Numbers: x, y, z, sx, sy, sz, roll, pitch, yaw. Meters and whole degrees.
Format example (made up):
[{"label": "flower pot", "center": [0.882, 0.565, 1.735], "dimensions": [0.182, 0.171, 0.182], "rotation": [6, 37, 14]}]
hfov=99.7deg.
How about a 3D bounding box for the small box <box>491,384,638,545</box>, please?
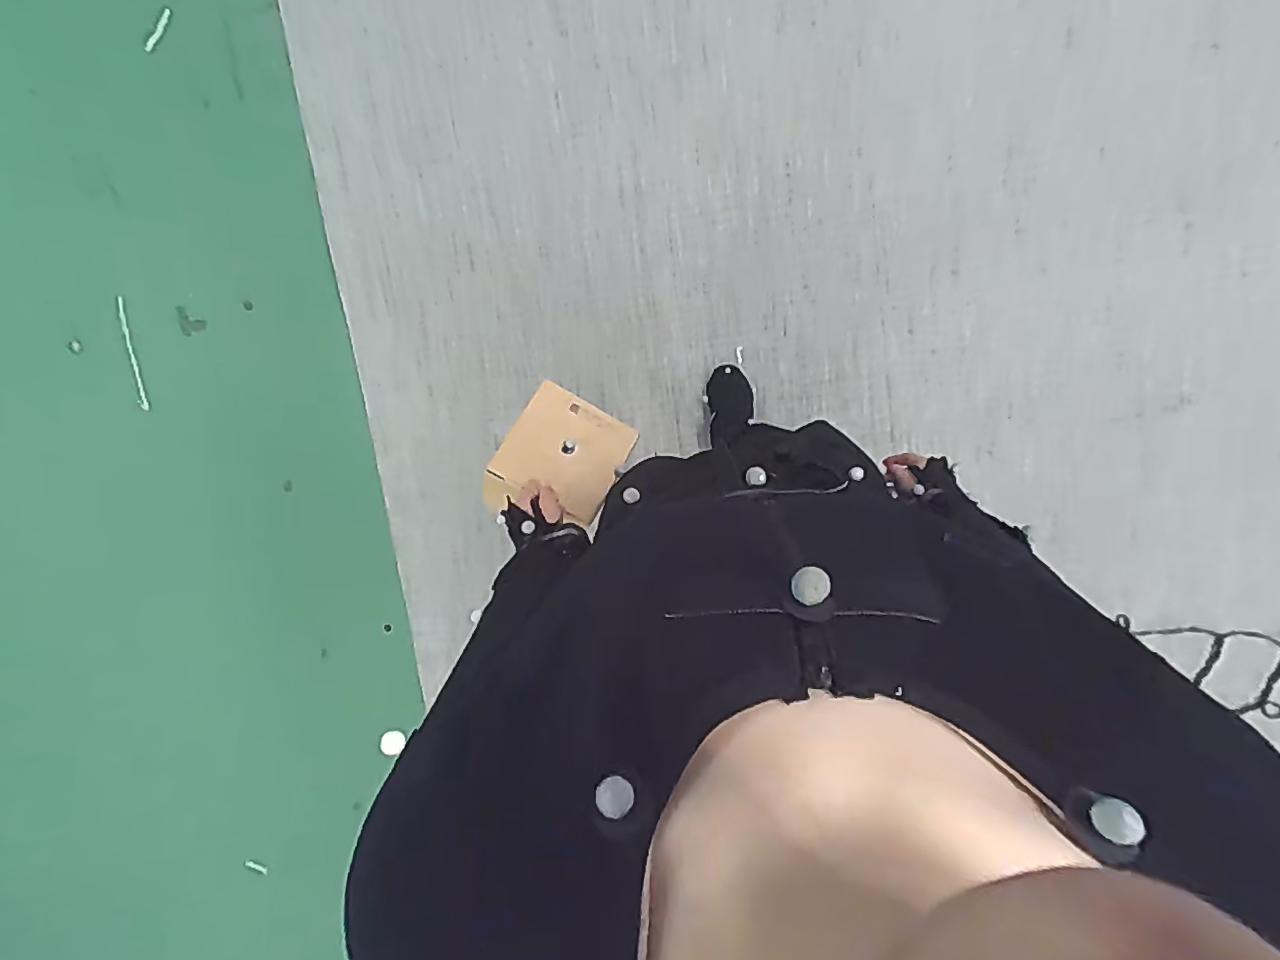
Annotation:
[{"label": "small box", "center": [-0.119, -0.021, 0.852], "dimensions": [0.168, 0.179, 0.176], "rotation": [28, 67, -5]}]
